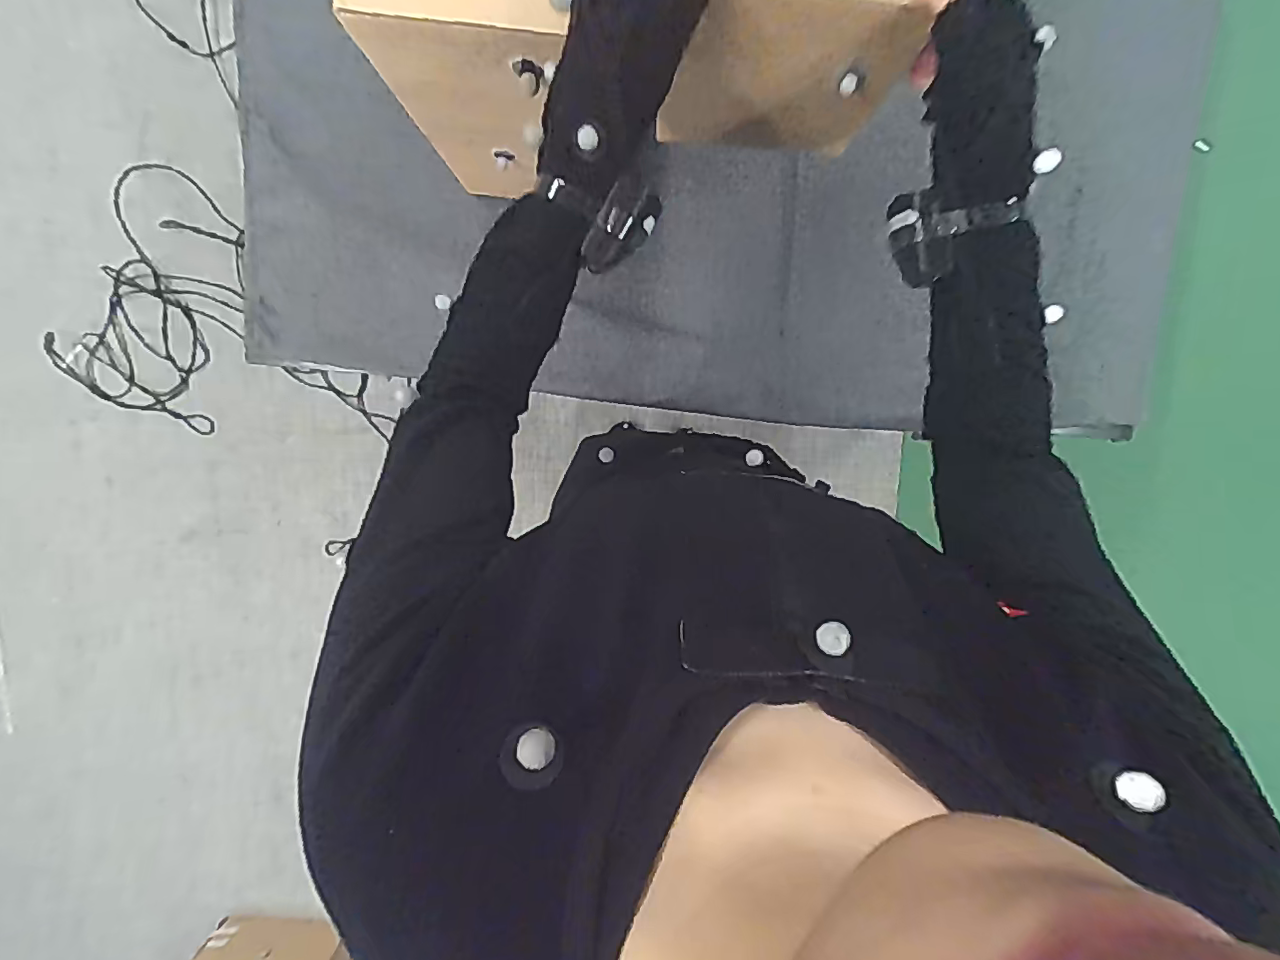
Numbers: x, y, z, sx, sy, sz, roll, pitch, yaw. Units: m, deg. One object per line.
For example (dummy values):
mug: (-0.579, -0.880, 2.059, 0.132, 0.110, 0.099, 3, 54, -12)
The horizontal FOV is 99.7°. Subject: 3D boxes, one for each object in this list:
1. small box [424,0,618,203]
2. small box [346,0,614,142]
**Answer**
small box: (-0.121, -0.436, 0.611, 0.179, 0.176, 0.168, 7, 96, -2)
small box: (-0.113, -0.411, 0.448, 0.179, 0.176, 0.168, 5, 96, -2)
